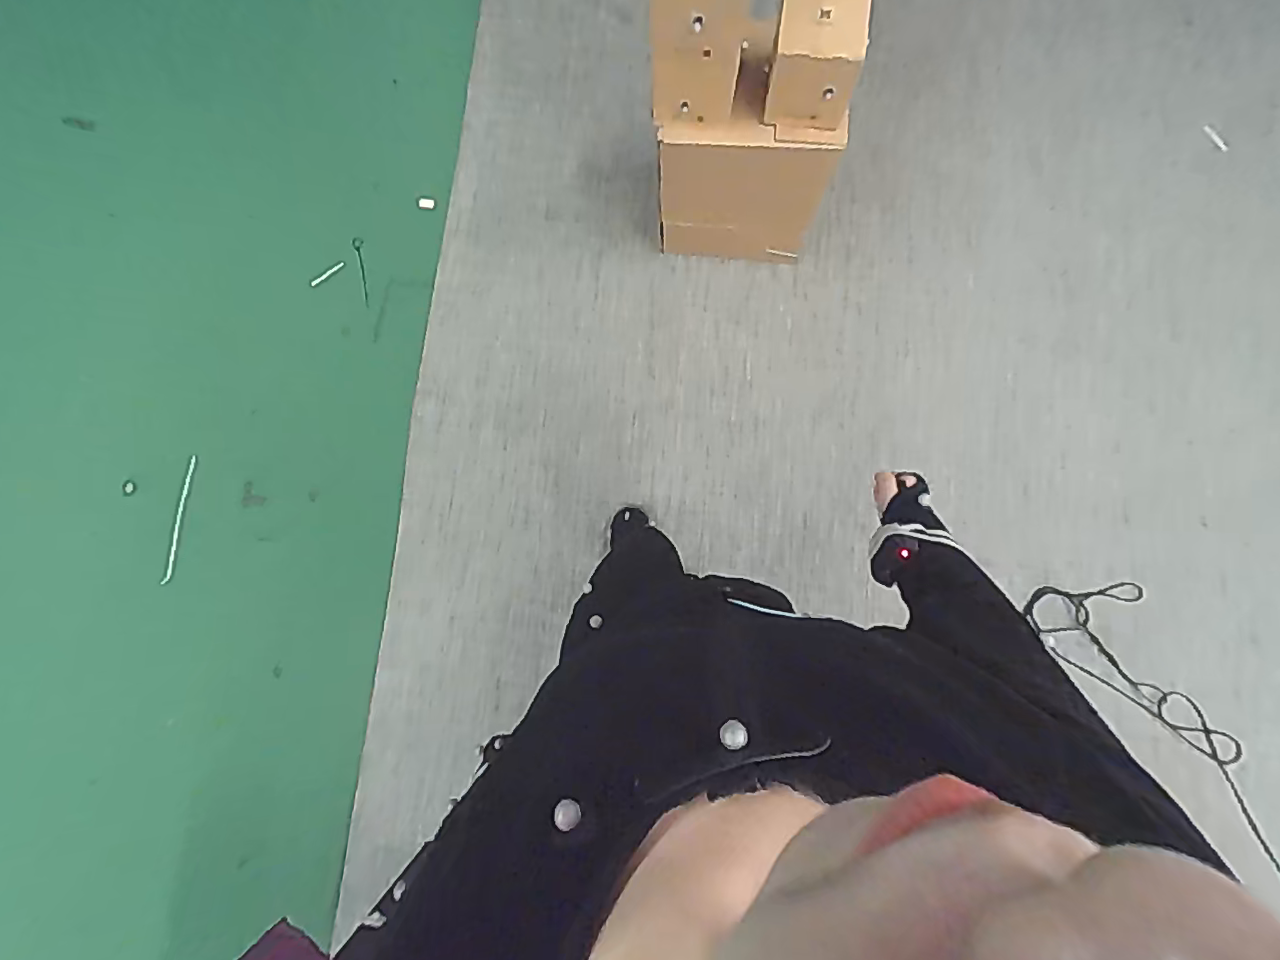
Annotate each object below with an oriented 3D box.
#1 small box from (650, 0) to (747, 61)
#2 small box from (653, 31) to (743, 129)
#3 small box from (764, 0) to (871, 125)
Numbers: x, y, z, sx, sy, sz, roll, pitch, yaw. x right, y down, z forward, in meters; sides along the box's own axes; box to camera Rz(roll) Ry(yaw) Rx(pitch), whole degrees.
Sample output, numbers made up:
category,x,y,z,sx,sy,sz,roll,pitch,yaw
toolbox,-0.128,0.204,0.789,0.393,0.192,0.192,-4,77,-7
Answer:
category,x,y,z,sx,sy,sz,roll,pitch,yaw
small box,0.109,-0.882,0.944,0.168,0.176,0.179,7,85,2
small box,0.116,-0.868,1.107,0.168,0.176,0.179,6,84,2
small box,0.352,-0.859,1.093,0.168,0.176,0.179,8,82,5
